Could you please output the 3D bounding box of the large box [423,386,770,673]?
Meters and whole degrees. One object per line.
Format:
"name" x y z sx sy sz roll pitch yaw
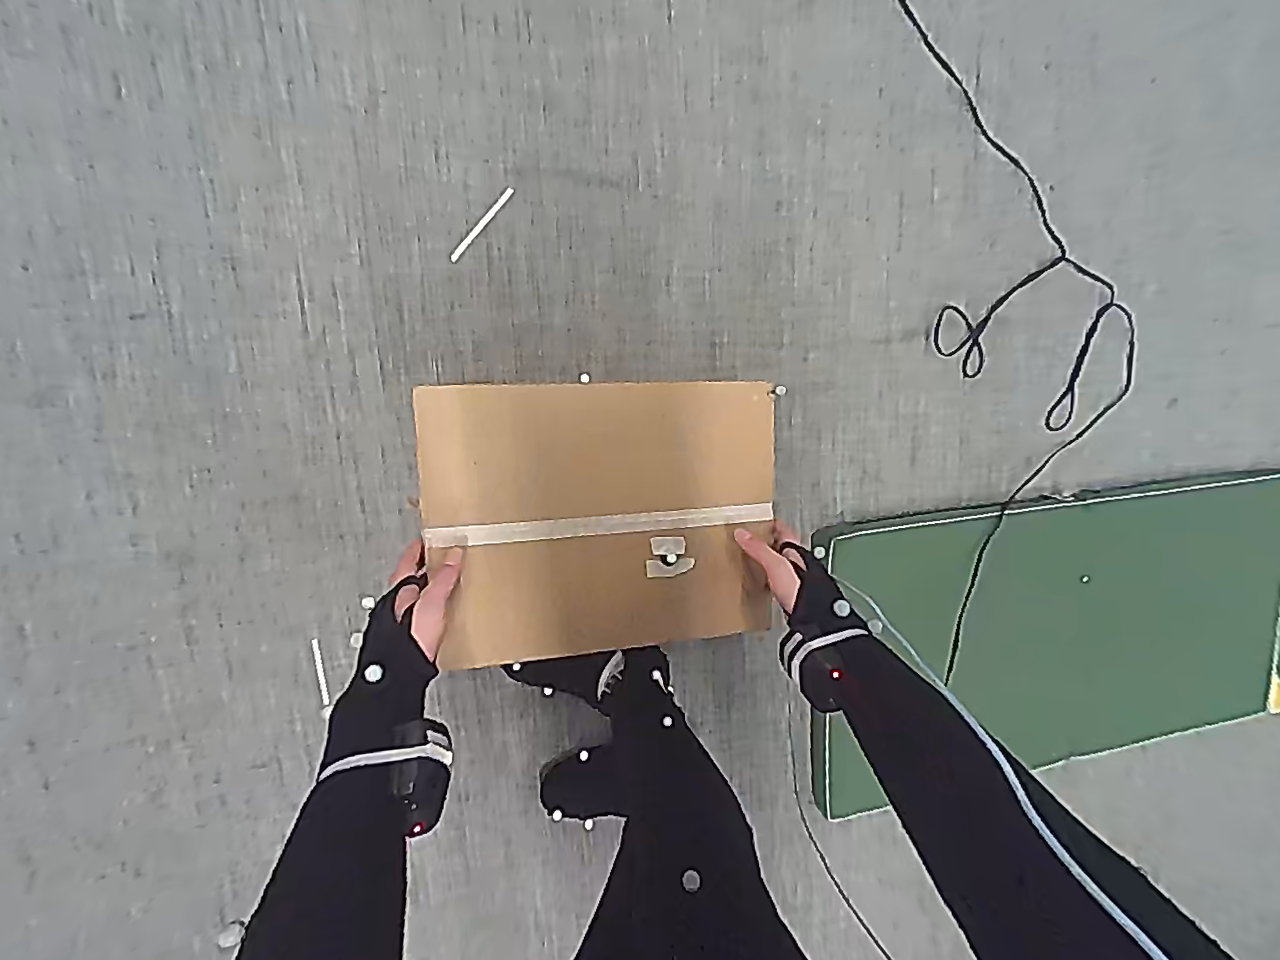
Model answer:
"large box" -0.068 0.035 0.775 0.408 0.320 0.320 -4 98 -14
